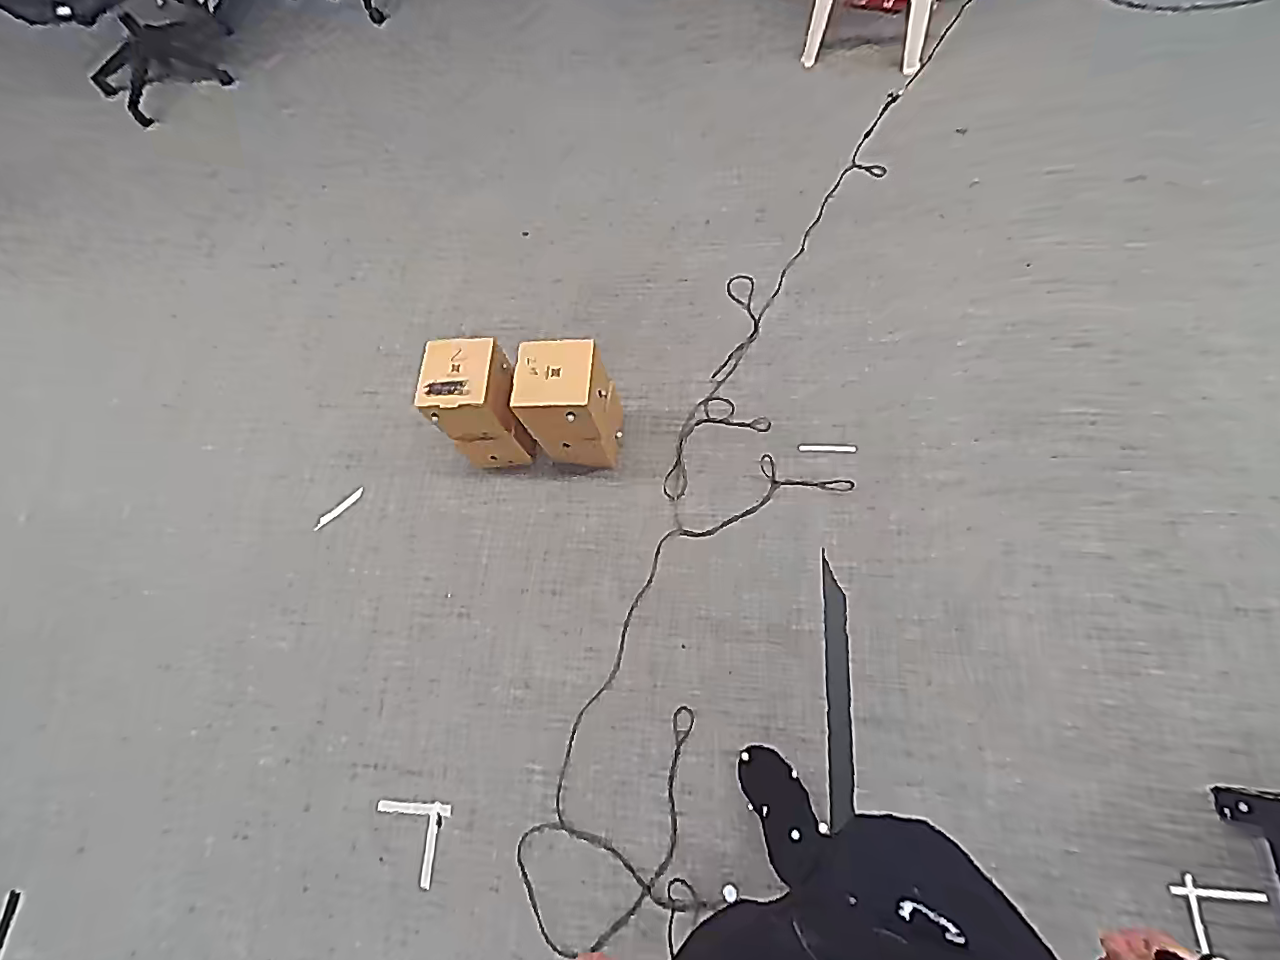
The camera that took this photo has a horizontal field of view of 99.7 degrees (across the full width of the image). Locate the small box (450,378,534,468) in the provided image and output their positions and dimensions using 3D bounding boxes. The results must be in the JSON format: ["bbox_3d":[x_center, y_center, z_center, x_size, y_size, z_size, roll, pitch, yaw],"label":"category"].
[{"bbox_3d":[-0.385,-0.147,1.437,0.168,0.176,0.179,-5,69,6],"label":"small box"}]

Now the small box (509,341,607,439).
[{"bbox_3d":[-0.180,-0.203,1.245,0.179,0.176,0.168,0,68,10],"label":"small box"}]

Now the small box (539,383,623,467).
[{"bbox_3d":[-0.155,-0.144,1.397,0.179,0.176,0.168,7,70,11],"label":"small box"}]
